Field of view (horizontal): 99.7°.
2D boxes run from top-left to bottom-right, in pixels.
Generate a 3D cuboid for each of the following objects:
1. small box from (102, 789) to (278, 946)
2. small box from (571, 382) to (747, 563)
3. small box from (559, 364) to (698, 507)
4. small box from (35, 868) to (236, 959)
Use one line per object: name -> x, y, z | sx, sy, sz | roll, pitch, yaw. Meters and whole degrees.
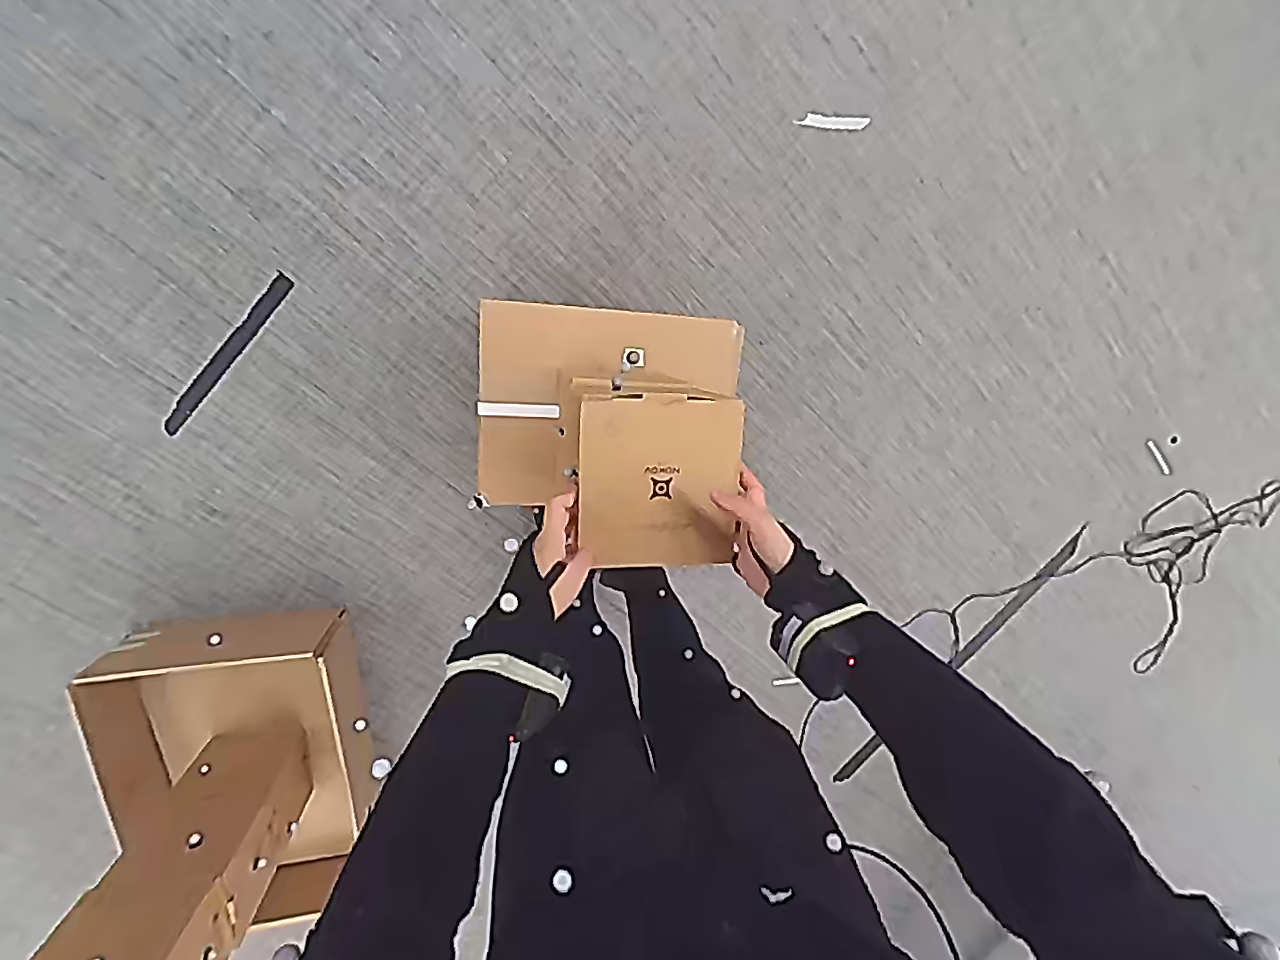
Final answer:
small box -> -0.747, 0.662, 0.924 | 0.179, 0.176, 0.168 | 0, 104, -13
small box -> 0.009, -0.019, 0.617 | 0.168, 0.176, 0.179 | -1, 104, -11
small box -> -0.026, -0.067, 0.775 | 0.168, 0.176, 0.179 | 1, 105, -14
small box -> -0.721, 0.698, 0.767 | 0.179, 0.176, 0.168 | 0, 105, -12
